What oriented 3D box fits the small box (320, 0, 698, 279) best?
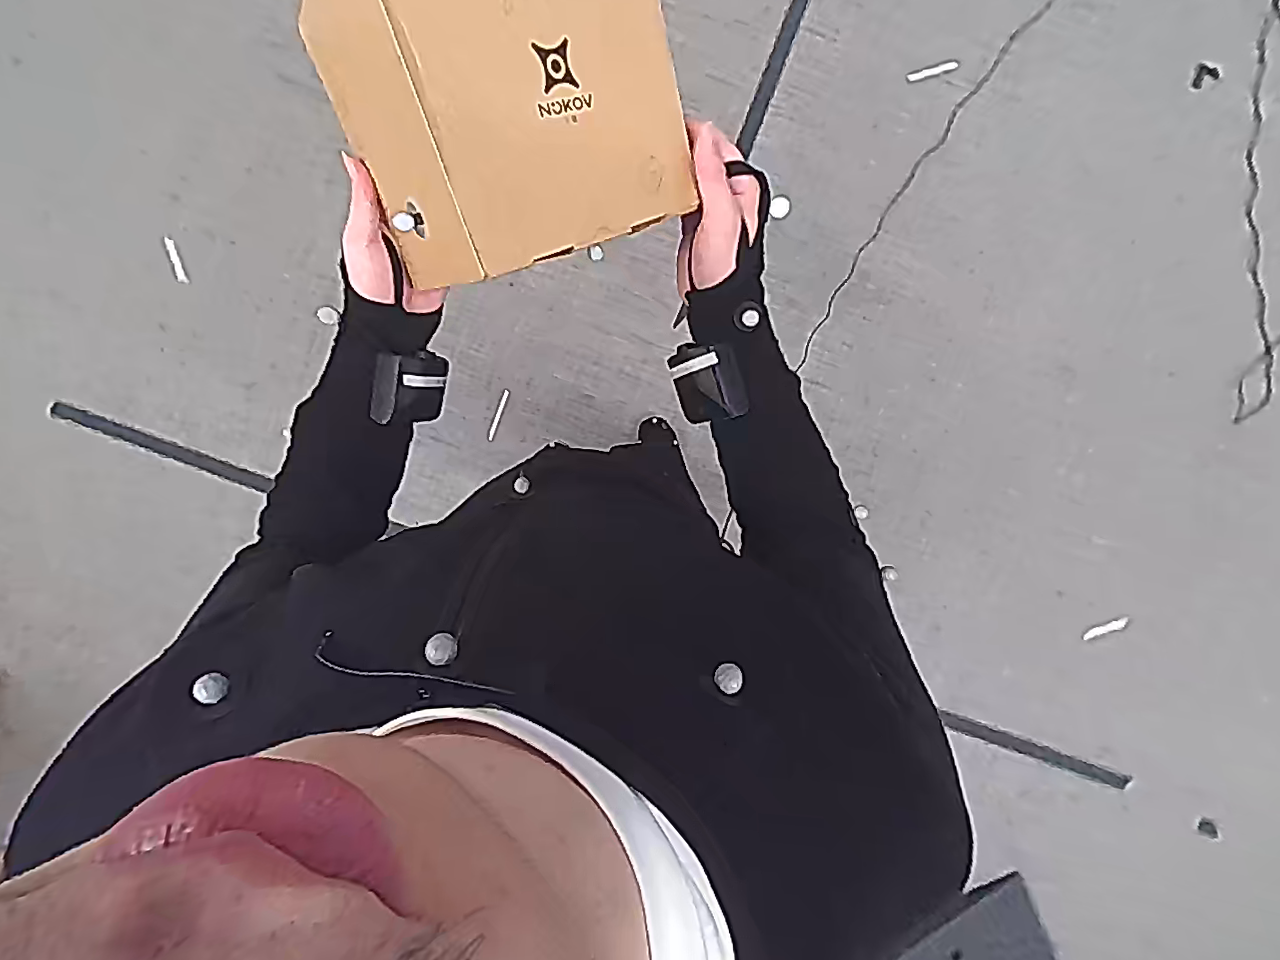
[{"bbox_3d":[-0.089,-0.245,0.369,0.168,0.176,0.179,-30,119,-26],"label":"small box"}]
